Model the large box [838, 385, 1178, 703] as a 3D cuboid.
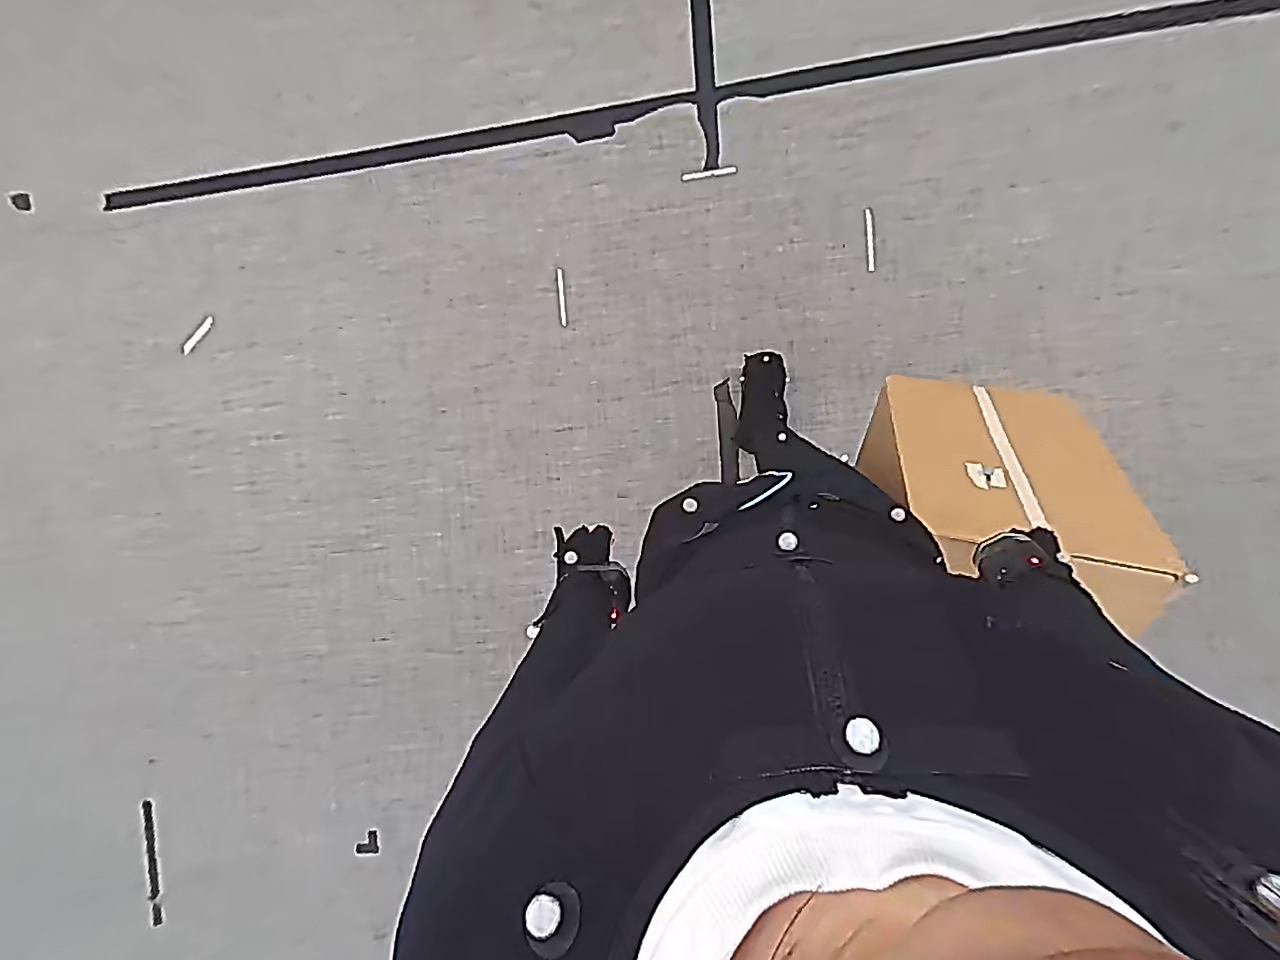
[{"bbox_3d":[0.539,0.089,0.914,0.320,0.408,0.320,9,132,10],"label":"large box"}]
